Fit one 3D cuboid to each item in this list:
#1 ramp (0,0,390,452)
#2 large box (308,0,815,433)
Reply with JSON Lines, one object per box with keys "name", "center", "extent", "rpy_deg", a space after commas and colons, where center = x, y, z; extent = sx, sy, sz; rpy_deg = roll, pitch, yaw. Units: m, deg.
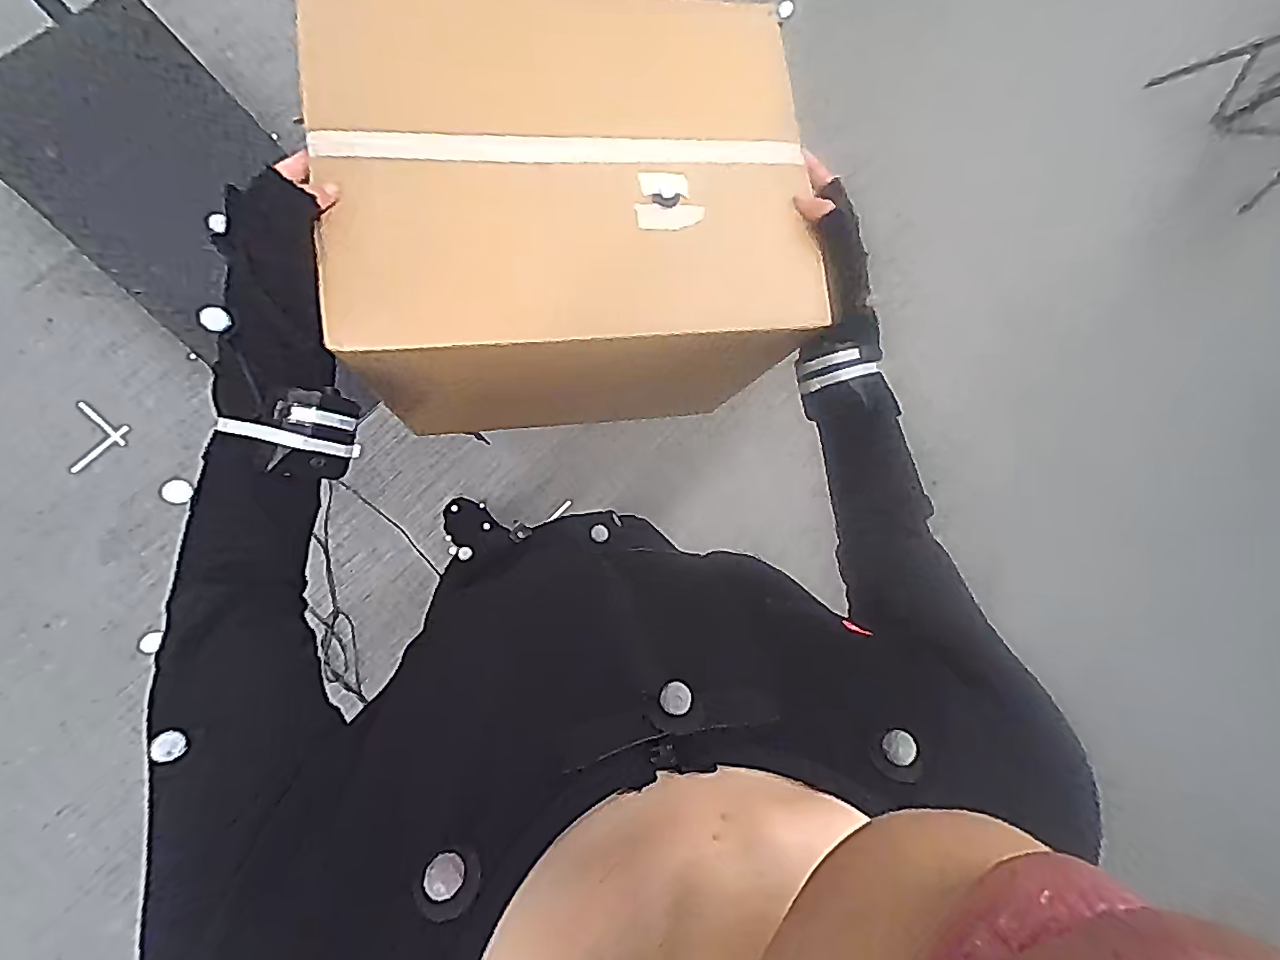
{"name": "ramp", "center": [-0.976, -0.588, 1.314], "extent": [0.991, 0.206, 0.509], "rpy_deg": [44, 78, -5]}
{"name": "large box", "center": [-0.086, -0.253, 0.606], "extent": [0.408, 0.320, 0.320], "rpy_deg": [-7, 84, -13]}
